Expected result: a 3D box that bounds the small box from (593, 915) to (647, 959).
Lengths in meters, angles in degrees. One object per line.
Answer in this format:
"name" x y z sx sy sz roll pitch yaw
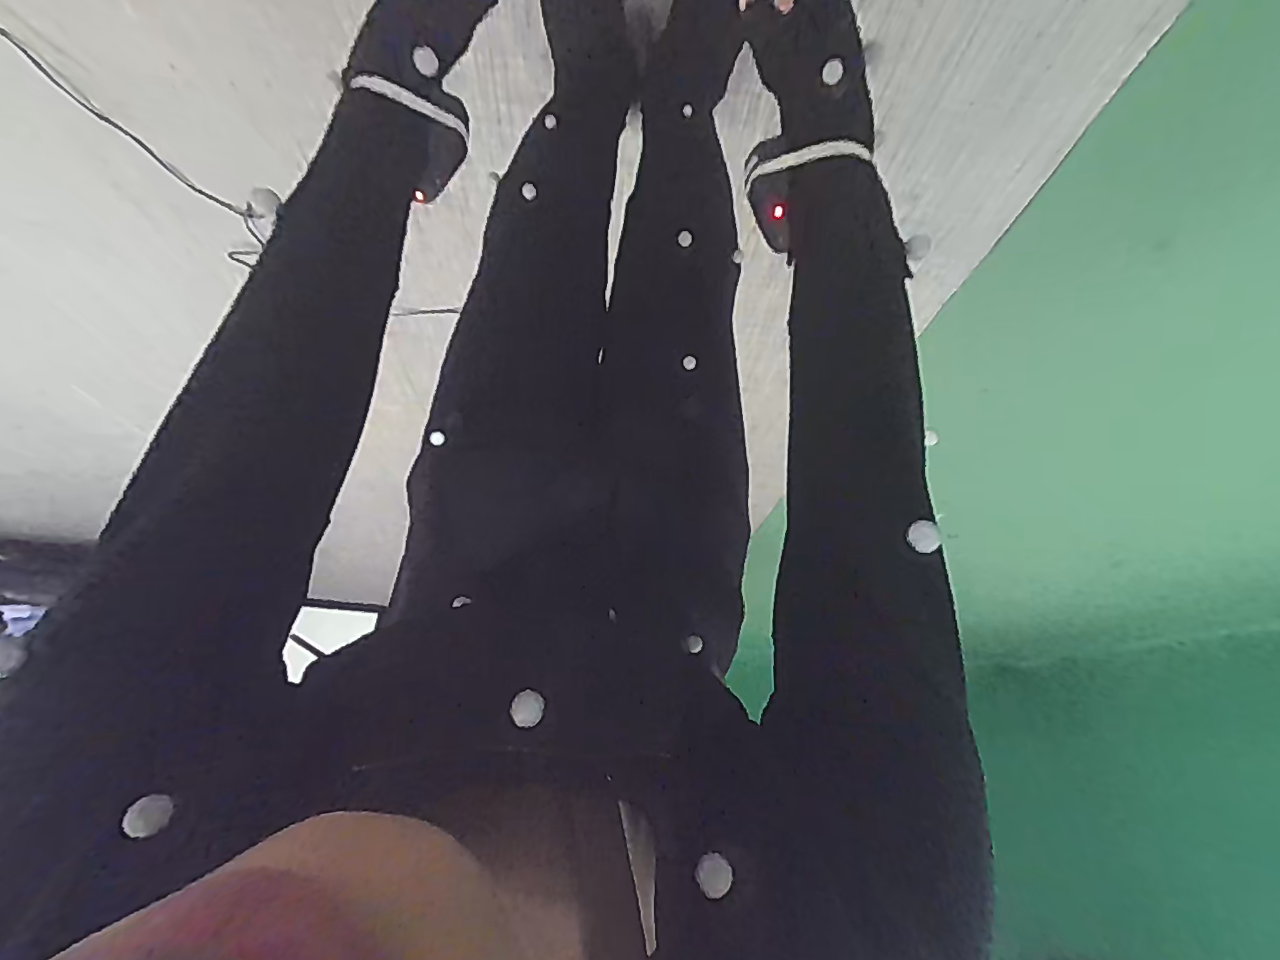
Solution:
"small box" -0.069 1.562 1.782 0.168 0.176 0.179 7 154 -2
